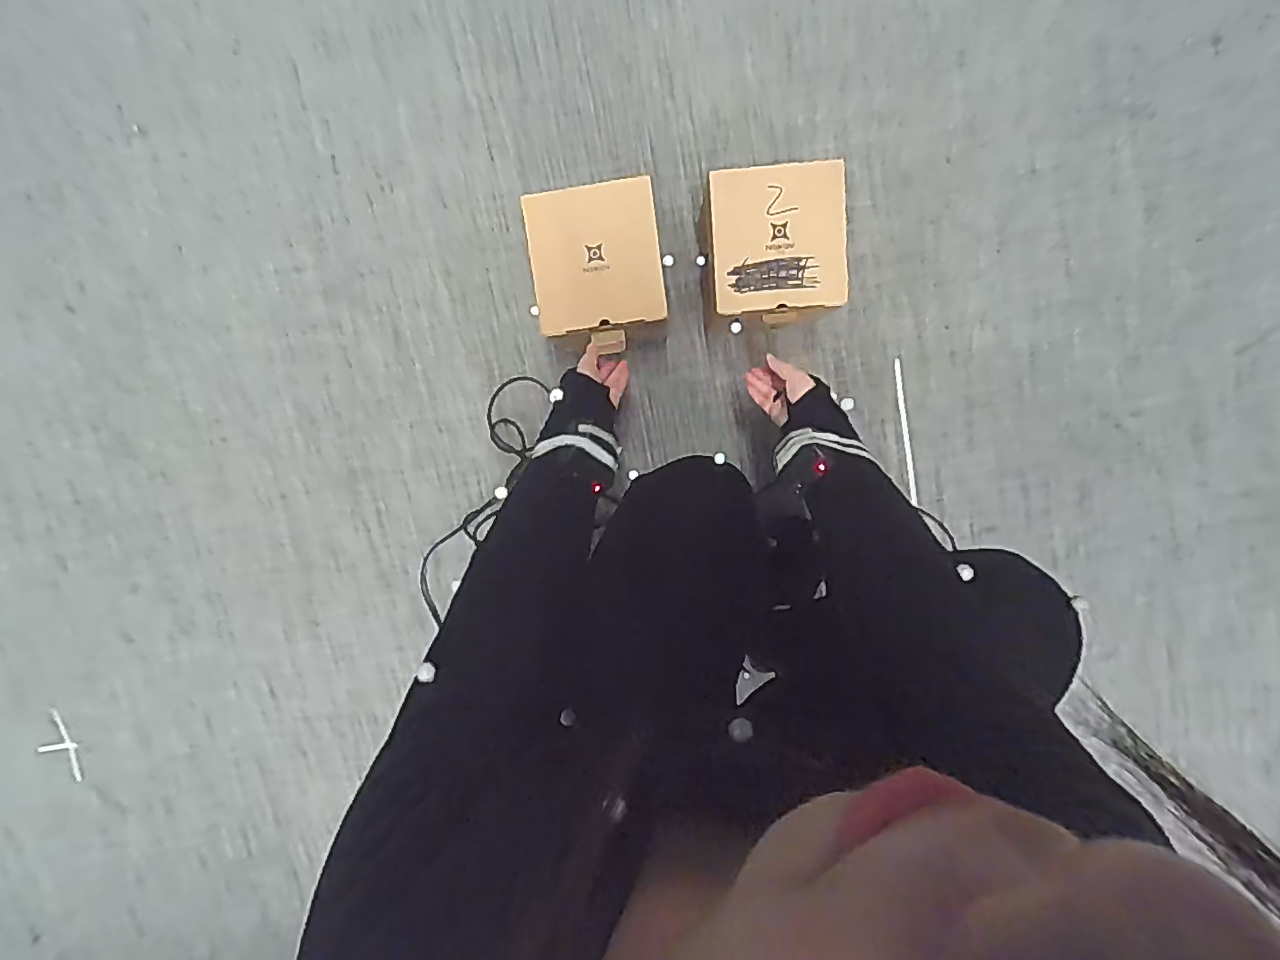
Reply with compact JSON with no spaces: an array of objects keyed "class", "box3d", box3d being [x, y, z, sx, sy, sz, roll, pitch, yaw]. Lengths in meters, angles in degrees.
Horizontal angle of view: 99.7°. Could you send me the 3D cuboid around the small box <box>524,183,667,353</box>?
[{"class":"small box","box3d":[-0.055,-0.287,0.767,0.168,0.176,0.179,-7,97,3]}]
